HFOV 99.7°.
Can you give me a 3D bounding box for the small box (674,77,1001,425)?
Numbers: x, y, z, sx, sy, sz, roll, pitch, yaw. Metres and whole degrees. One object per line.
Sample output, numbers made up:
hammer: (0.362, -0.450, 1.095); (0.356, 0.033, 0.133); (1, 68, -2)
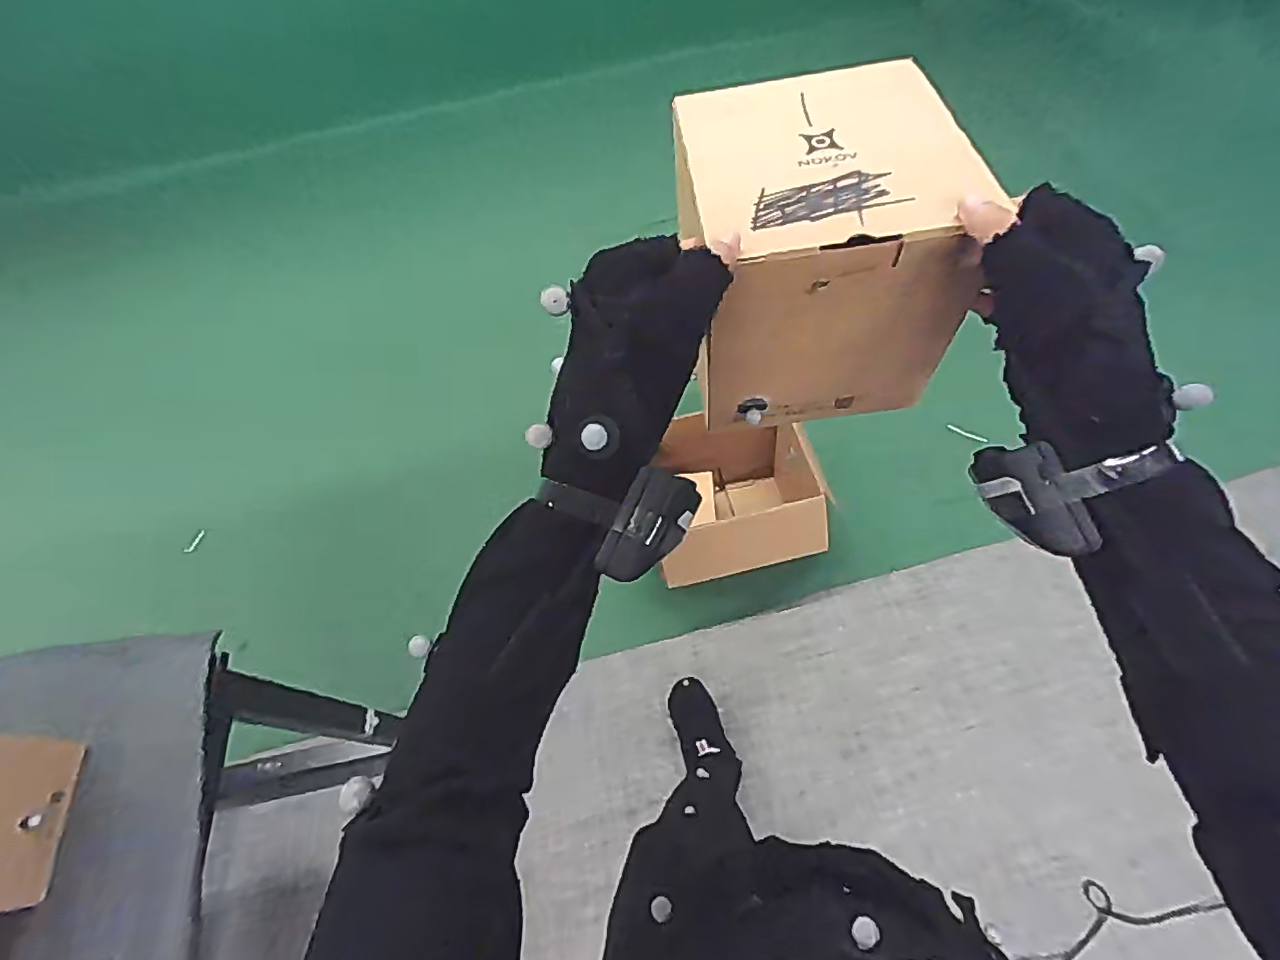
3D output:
small box: (0.119, -0.155, 0.405); (0.168, 0.176, 0.179); (-7, 59, 3)
